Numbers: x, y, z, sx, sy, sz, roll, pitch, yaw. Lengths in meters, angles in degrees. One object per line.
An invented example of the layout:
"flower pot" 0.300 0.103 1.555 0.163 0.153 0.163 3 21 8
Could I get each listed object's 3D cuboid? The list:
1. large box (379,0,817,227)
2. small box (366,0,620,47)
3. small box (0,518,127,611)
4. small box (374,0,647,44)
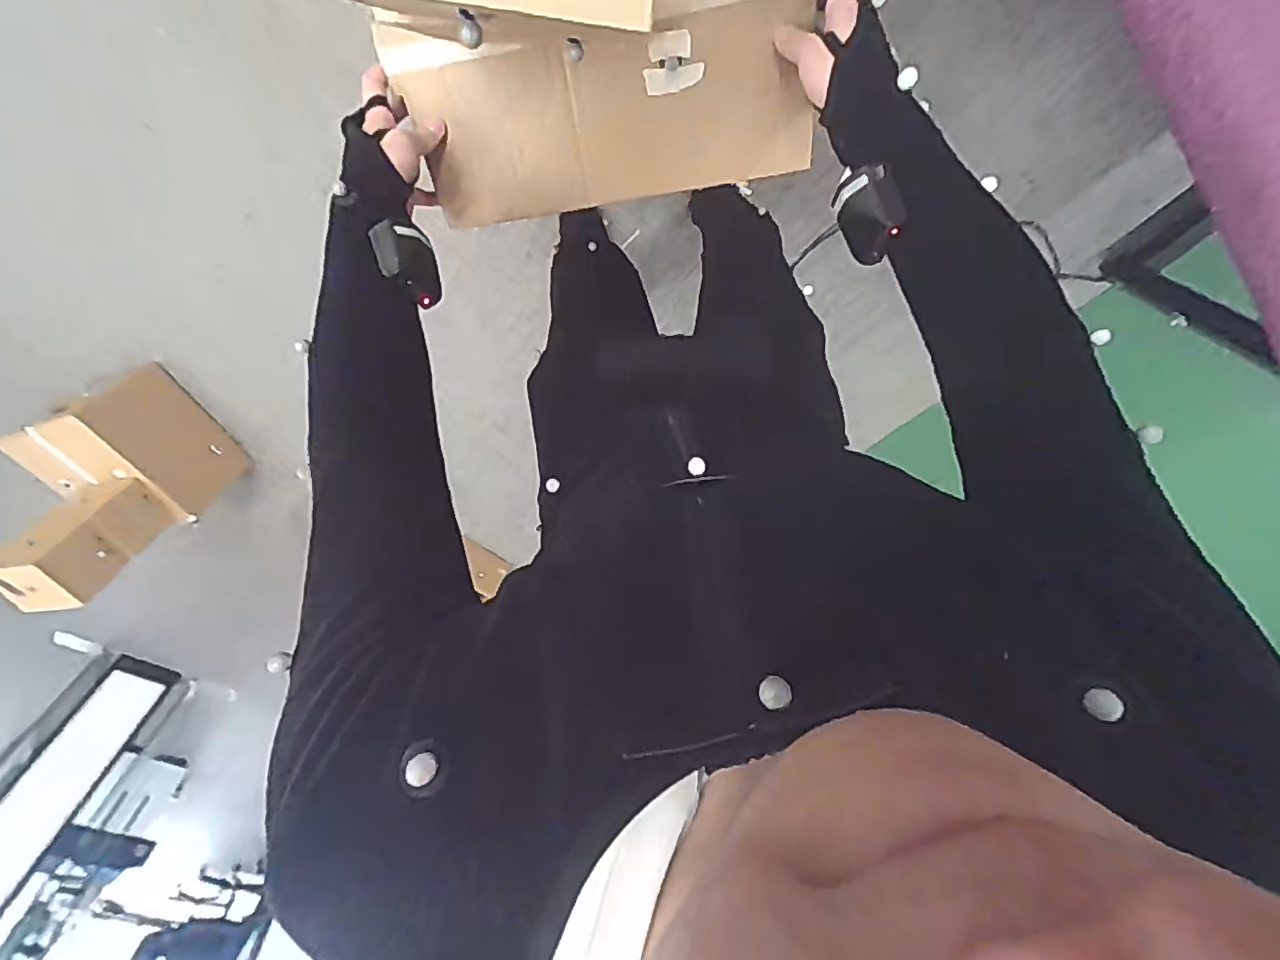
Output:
"large box" -0.041 -0.518 0.612 0.408 0.320 0.320 -8 128 5
"small box" -0.091 -0.420 0.383 0.179 0.176 0.168 2 126 -1
"small box" -1.510 0.216 1.397 0.179 0.176 0.168 -6 129 5
"small box" -0.075 -0.322 0.252 0.179 0.176 0.168 6 127 -5
